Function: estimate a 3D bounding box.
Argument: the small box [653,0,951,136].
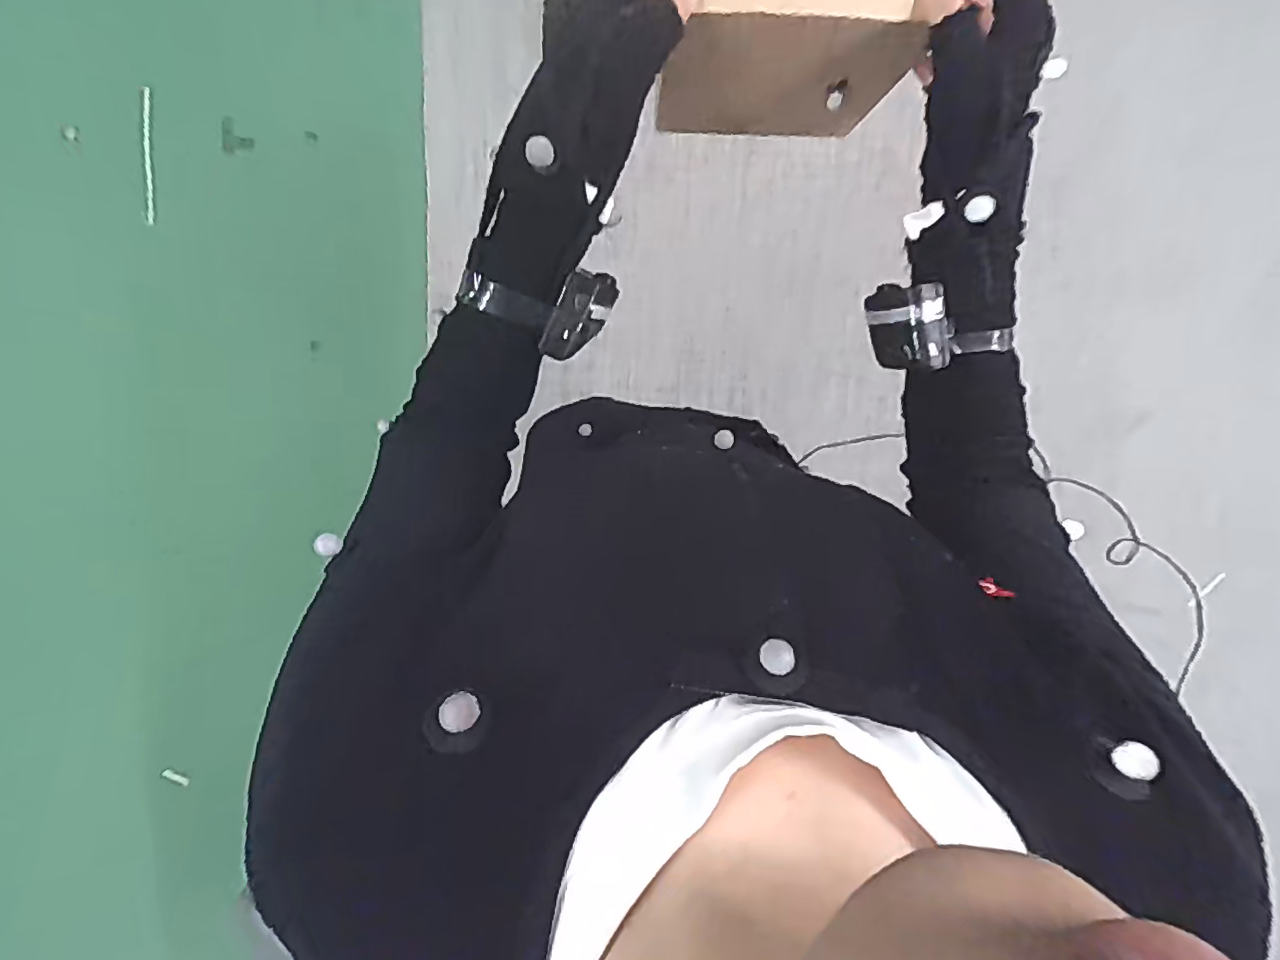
[{"bbox_3d":[0.101,-0.375,0.392,0.179,0.176,0.168,0,100,-1],"label":"small box"}]
